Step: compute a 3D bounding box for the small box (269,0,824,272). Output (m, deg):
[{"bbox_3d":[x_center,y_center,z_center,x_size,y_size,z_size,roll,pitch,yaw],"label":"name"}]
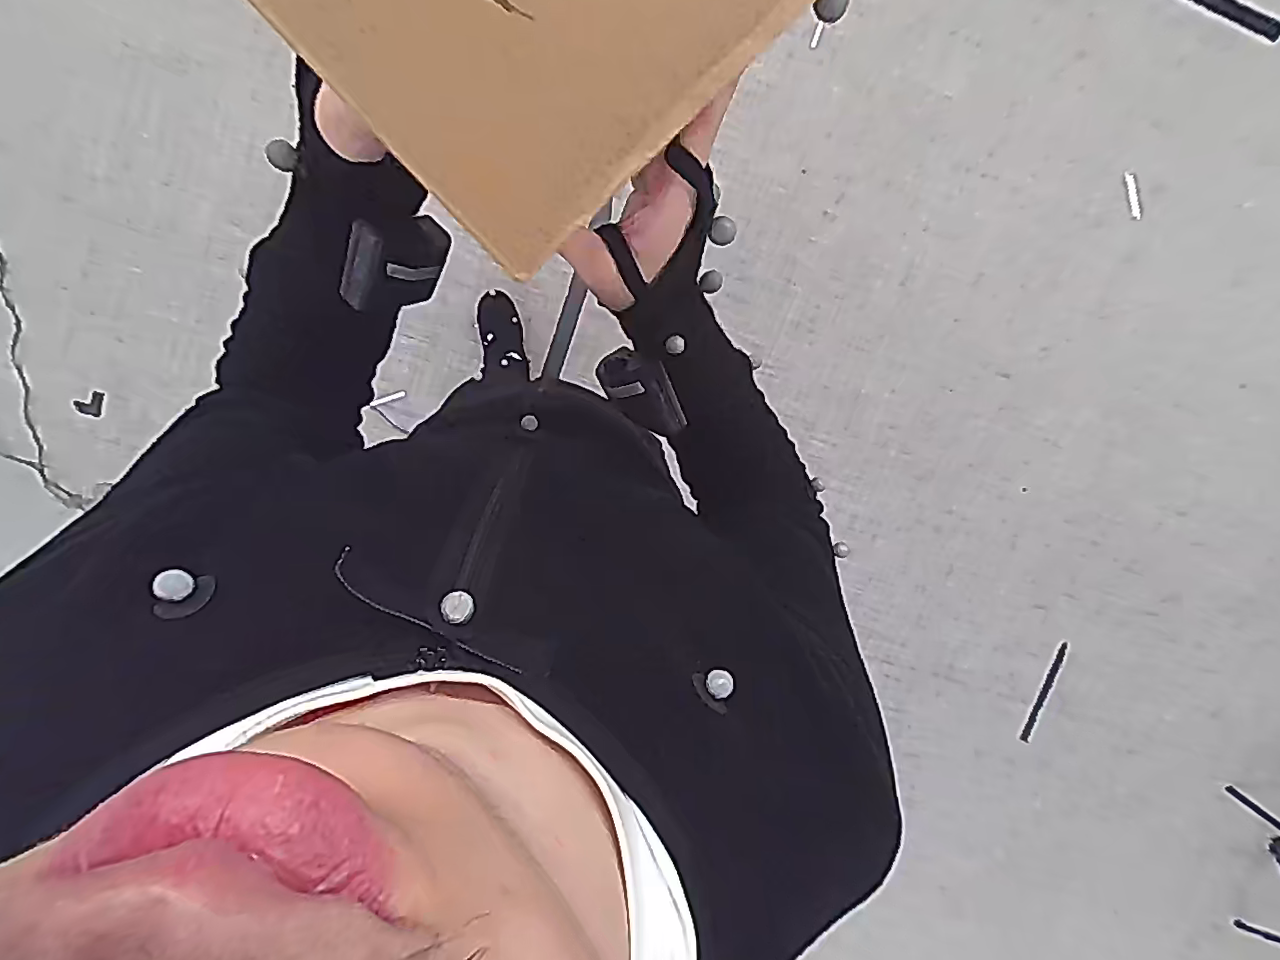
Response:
[{"bbox_3d":[-0.026,-0.209,0.178,0.179,0.176,0.168,-36,119,20],"label":"small box"}]
